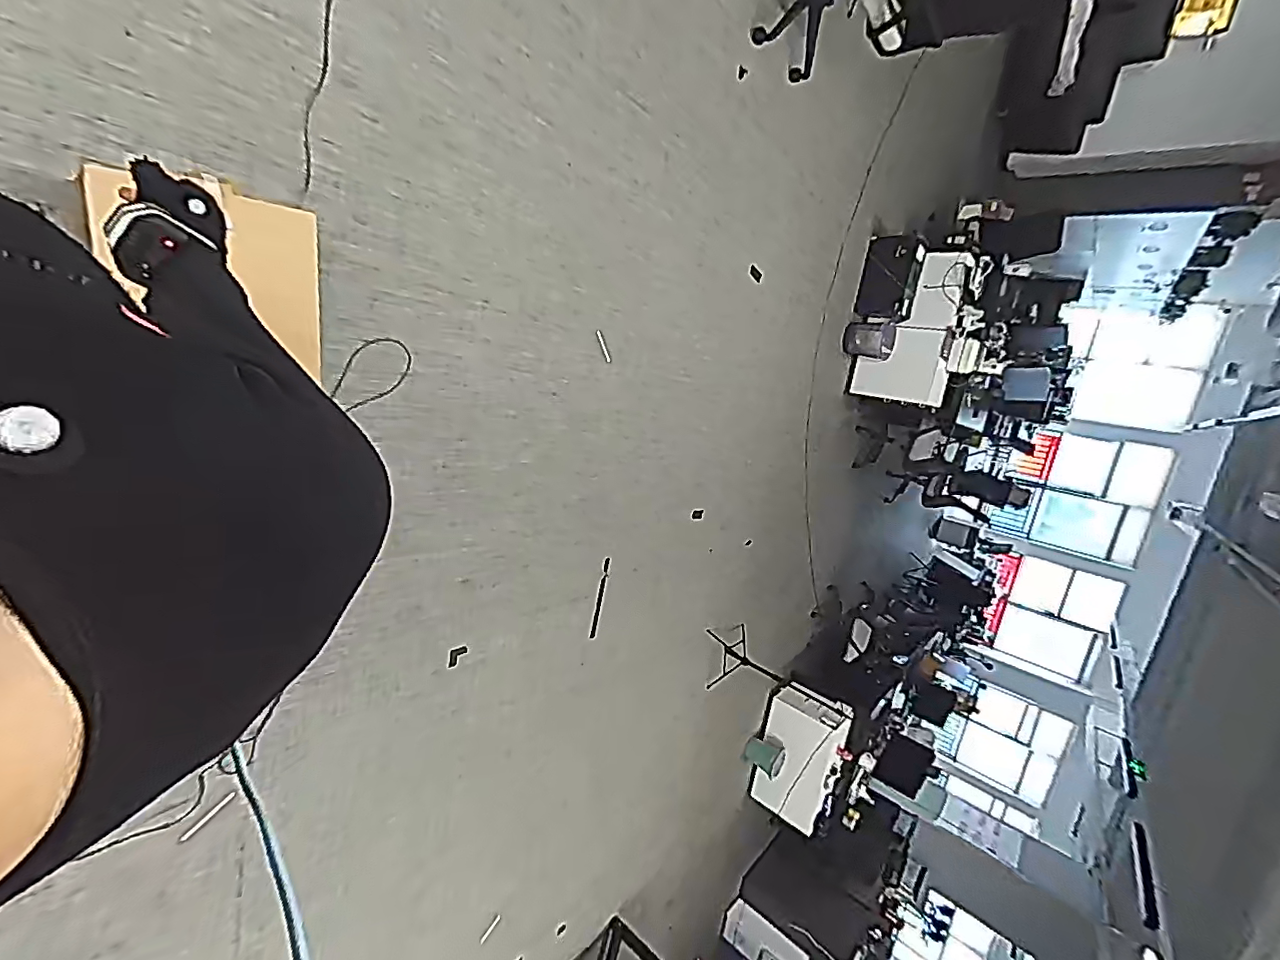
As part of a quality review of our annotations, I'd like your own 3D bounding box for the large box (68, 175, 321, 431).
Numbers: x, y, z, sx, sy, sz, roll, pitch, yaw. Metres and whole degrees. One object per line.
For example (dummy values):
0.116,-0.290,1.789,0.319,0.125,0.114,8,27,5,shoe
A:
-0.863,-0.334,1.066,0.320,0.320,0.408,-10,114,-47,large box
